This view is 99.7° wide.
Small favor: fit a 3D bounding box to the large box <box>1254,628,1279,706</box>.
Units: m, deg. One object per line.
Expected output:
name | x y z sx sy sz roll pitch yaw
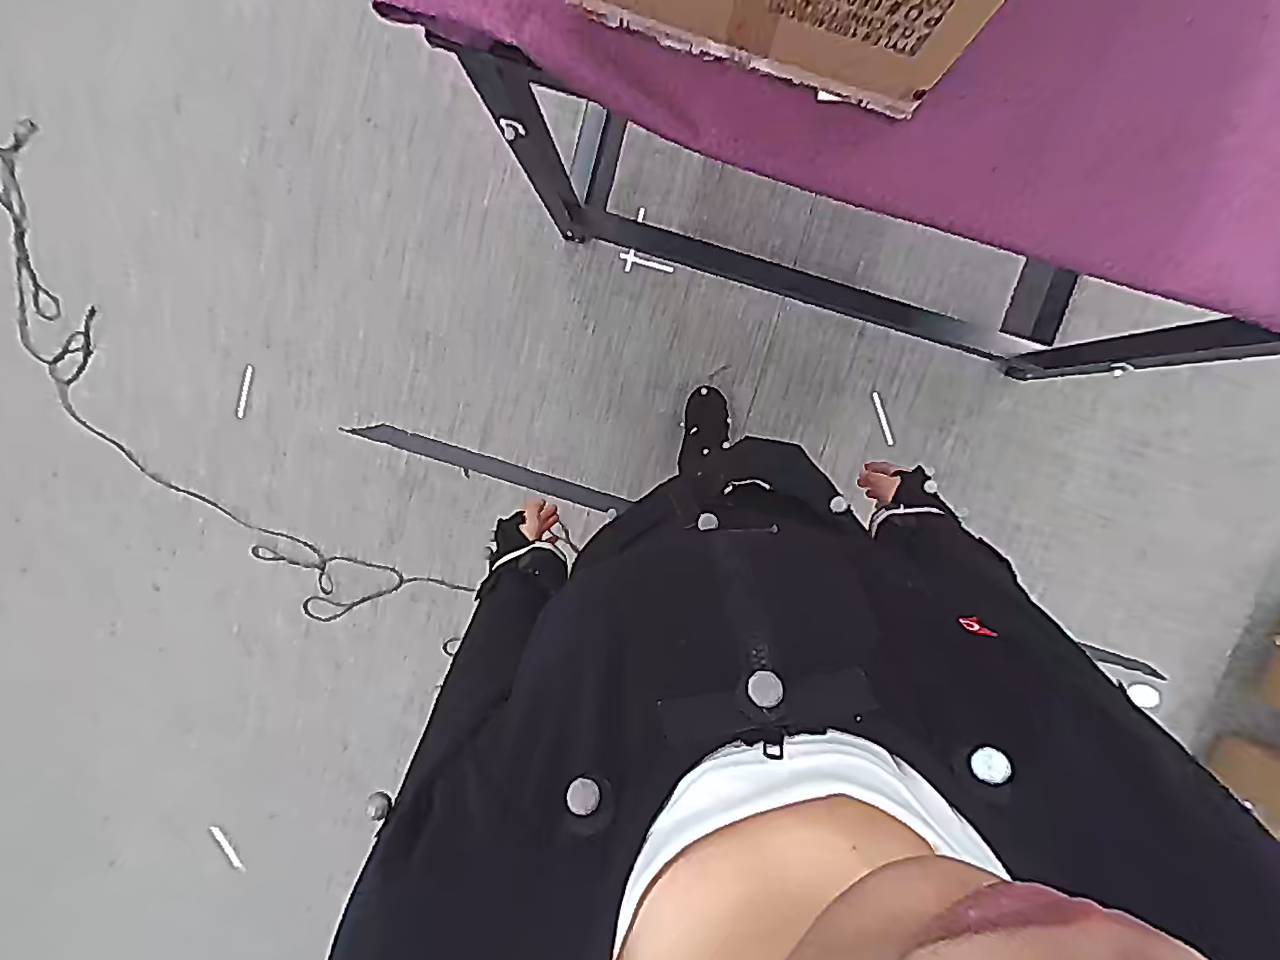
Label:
large box | 1.790 0.471 1.214 0.408 0.320 0.320 16 97 1
